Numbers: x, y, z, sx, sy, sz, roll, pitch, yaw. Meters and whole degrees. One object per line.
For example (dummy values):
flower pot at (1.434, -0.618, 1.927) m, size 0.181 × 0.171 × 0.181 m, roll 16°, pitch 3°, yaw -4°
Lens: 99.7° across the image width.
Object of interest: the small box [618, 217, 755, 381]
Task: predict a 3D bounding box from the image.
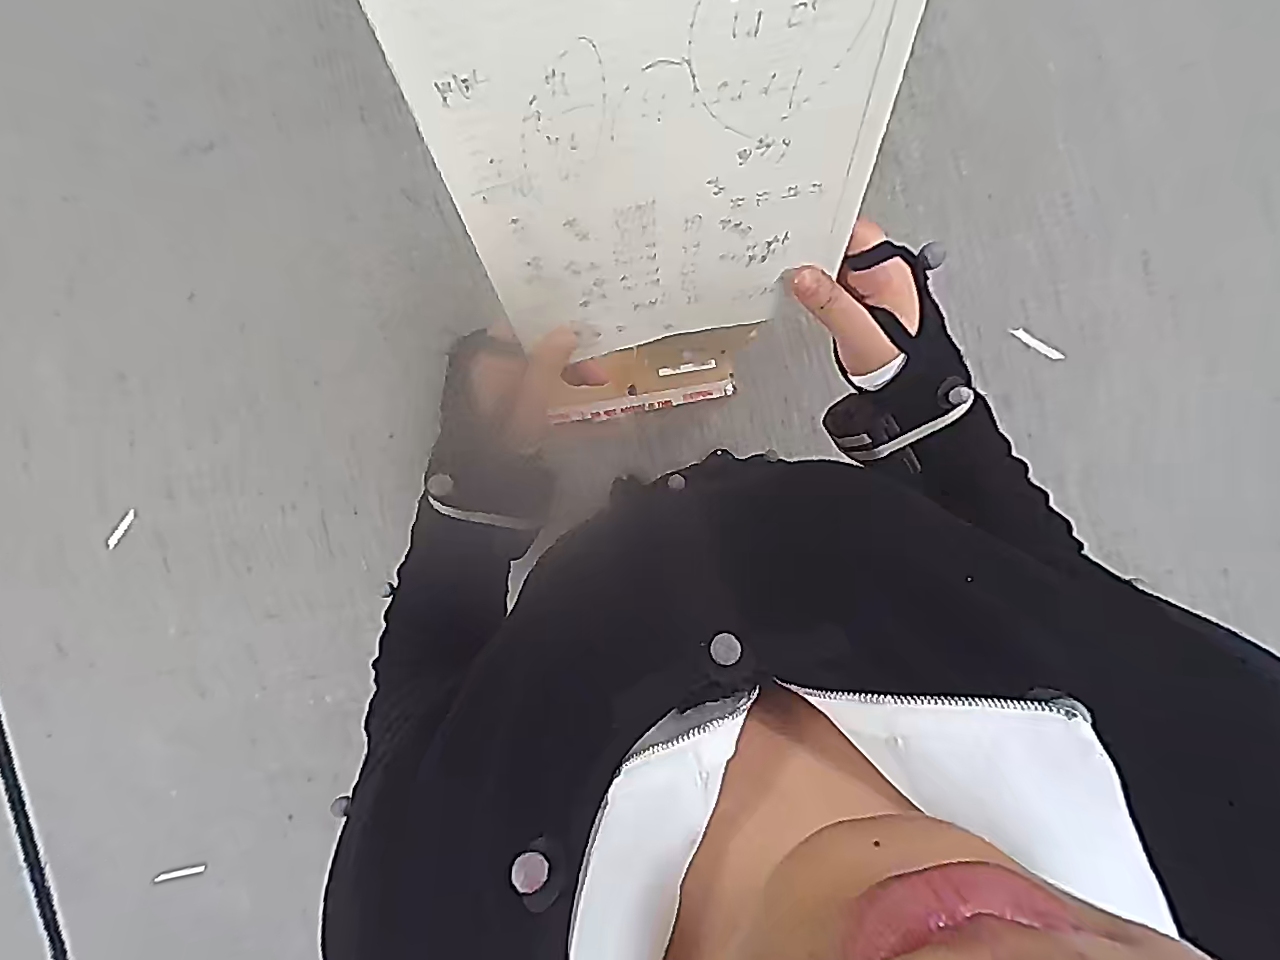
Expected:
small box at (0.057, -0.248, 0.777) m, size 0.168 × 0.176 × 0.179 m, roll -7°, pitch 93°, yaw -1°

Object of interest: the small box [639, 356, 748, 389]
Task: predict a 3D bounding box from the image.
small box at (0.074, -0.261, 0.941) m, size 0.179 × 0.176 × 0.168 m, roll -11°, pitch 92°, yaw 0°
